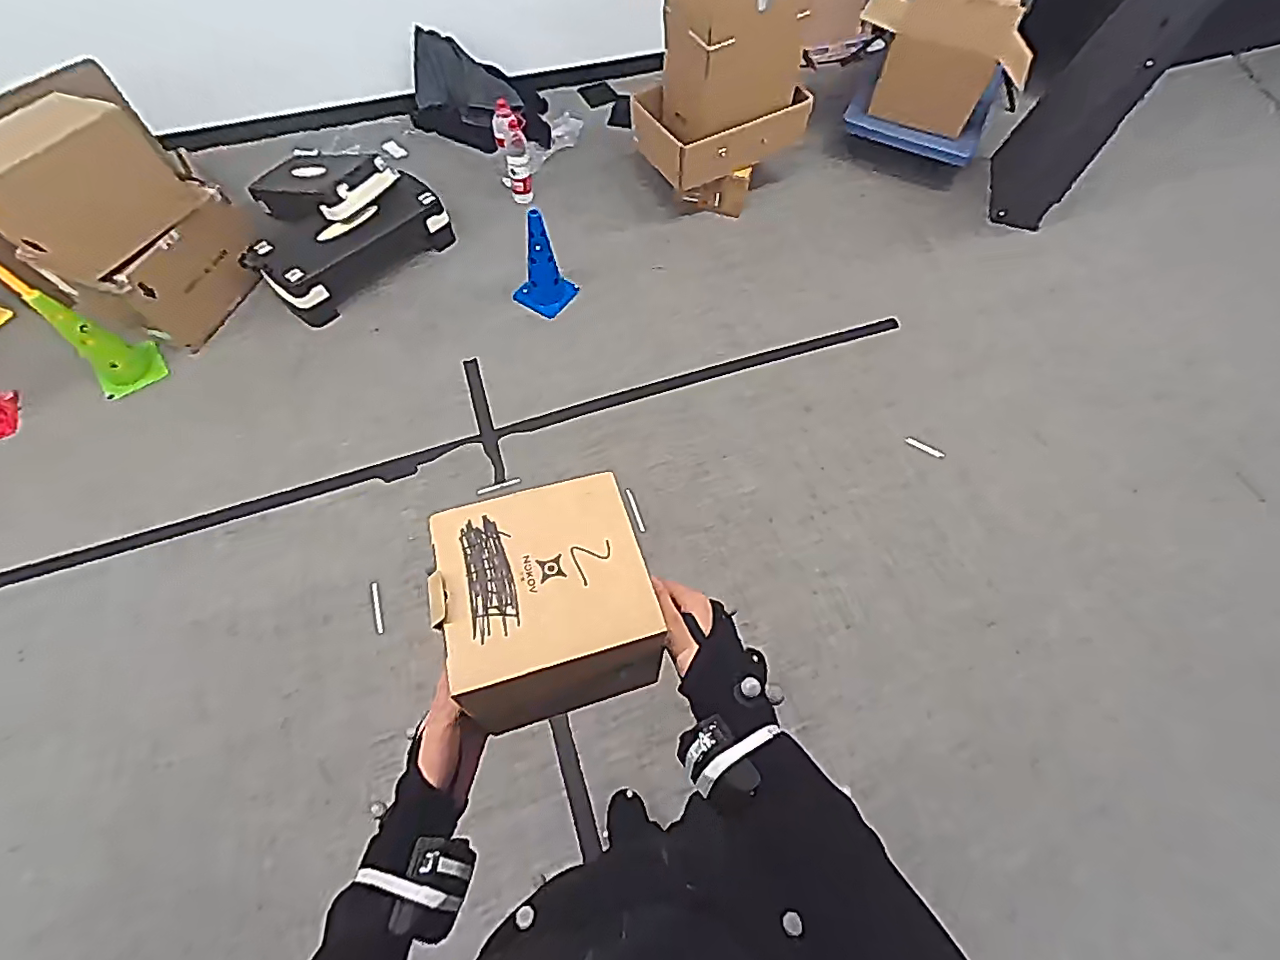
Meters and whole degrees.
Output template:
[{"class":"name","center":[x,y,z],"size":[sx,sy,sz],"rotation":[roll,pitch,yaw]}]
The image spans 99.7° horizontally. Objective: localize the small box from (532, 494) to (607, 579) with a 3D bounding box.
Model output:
[{"class":"small box","center":[-0.199,0.171,1.566],"size":[0.168,0.176,0.179],"rotation":[-20,65,-11]}]
